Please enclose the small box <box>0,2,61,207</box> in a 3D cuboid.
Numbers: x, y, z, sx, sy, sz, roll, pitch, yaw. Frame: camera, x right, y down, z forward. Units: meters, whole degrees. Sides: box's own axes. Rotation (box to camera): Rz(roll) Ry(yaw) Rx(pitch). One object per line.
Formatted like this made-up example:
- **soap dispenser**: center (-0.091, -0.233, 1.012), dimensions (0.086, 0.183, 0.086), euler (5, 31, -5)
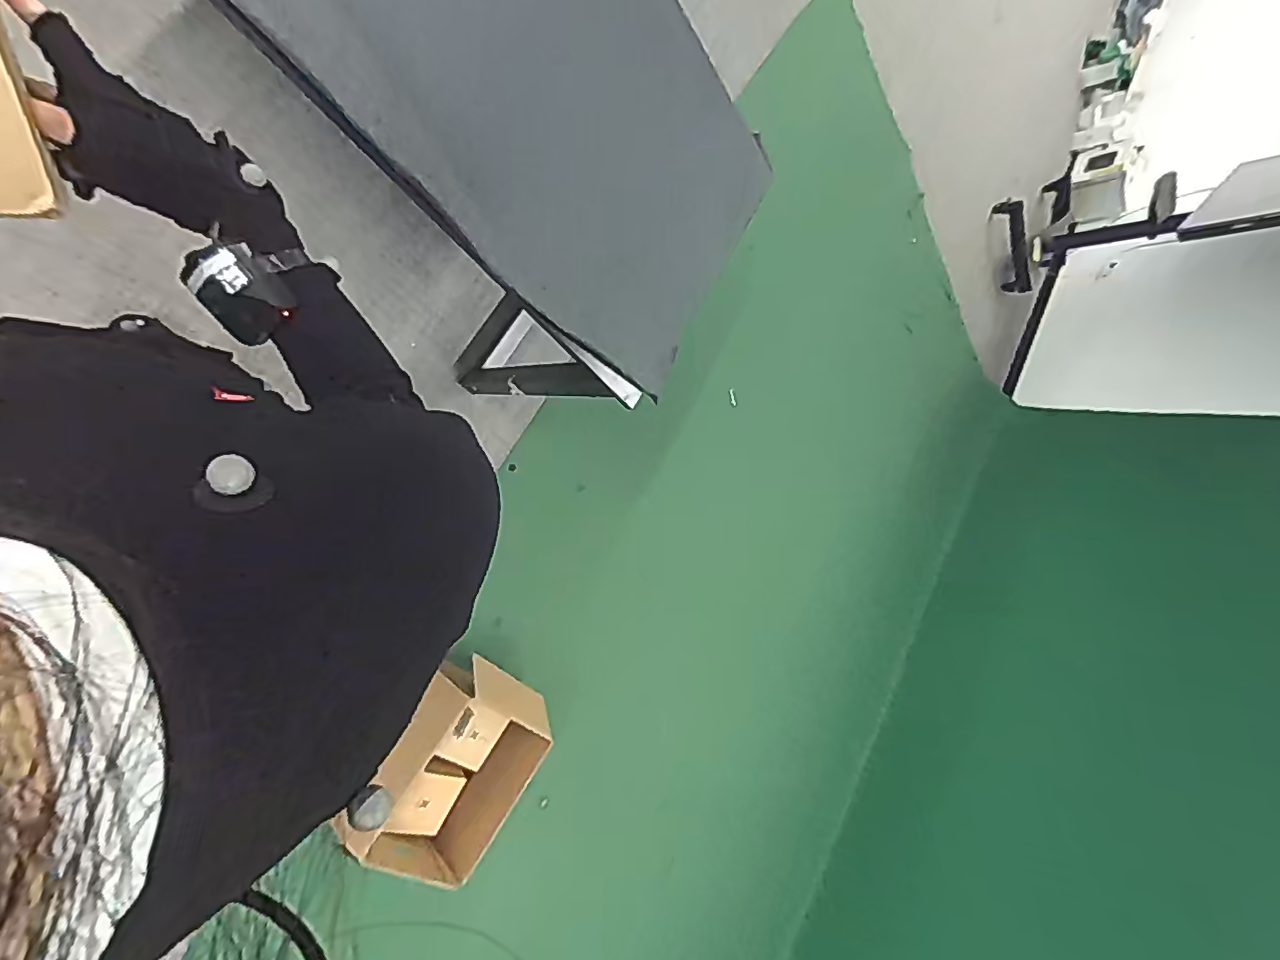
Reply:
- **small box**: center (-0.411, -0.229, 0.245), dimensions (0.168, 0.176, 0.179), euler (-19, 125, -38)
